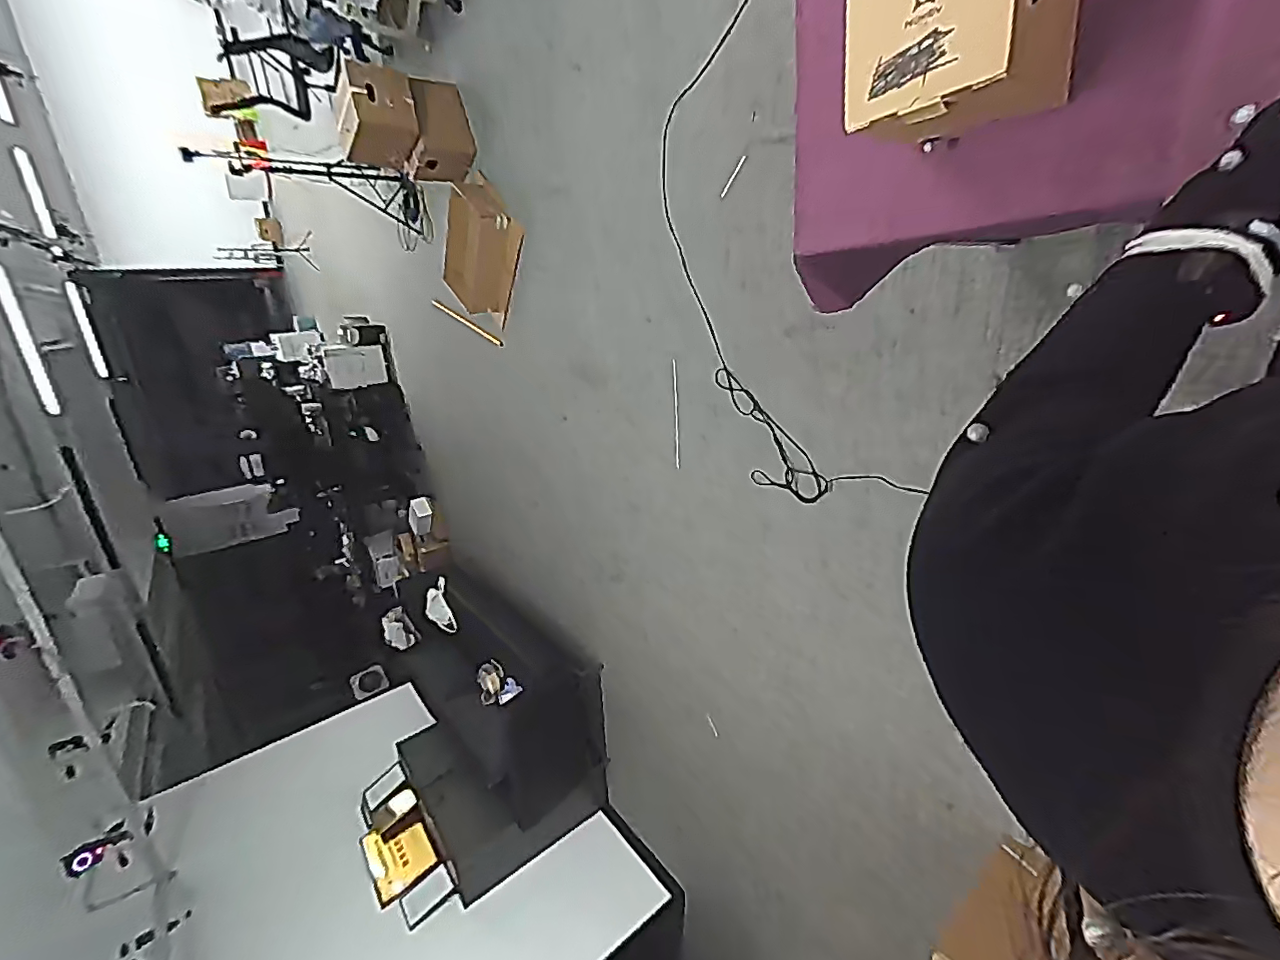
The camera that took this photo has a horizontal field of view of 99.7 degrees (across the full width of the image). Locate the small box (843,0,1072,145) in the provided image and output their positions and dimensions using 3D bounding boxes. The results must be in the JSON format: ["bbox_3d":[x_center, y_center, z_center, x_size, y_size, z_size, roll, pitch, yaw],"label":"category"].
[{"bbox_3d":[0.341,-0.482,0.583,0.168,0.176,0.179,15,115,50],"label":"small box"}]
